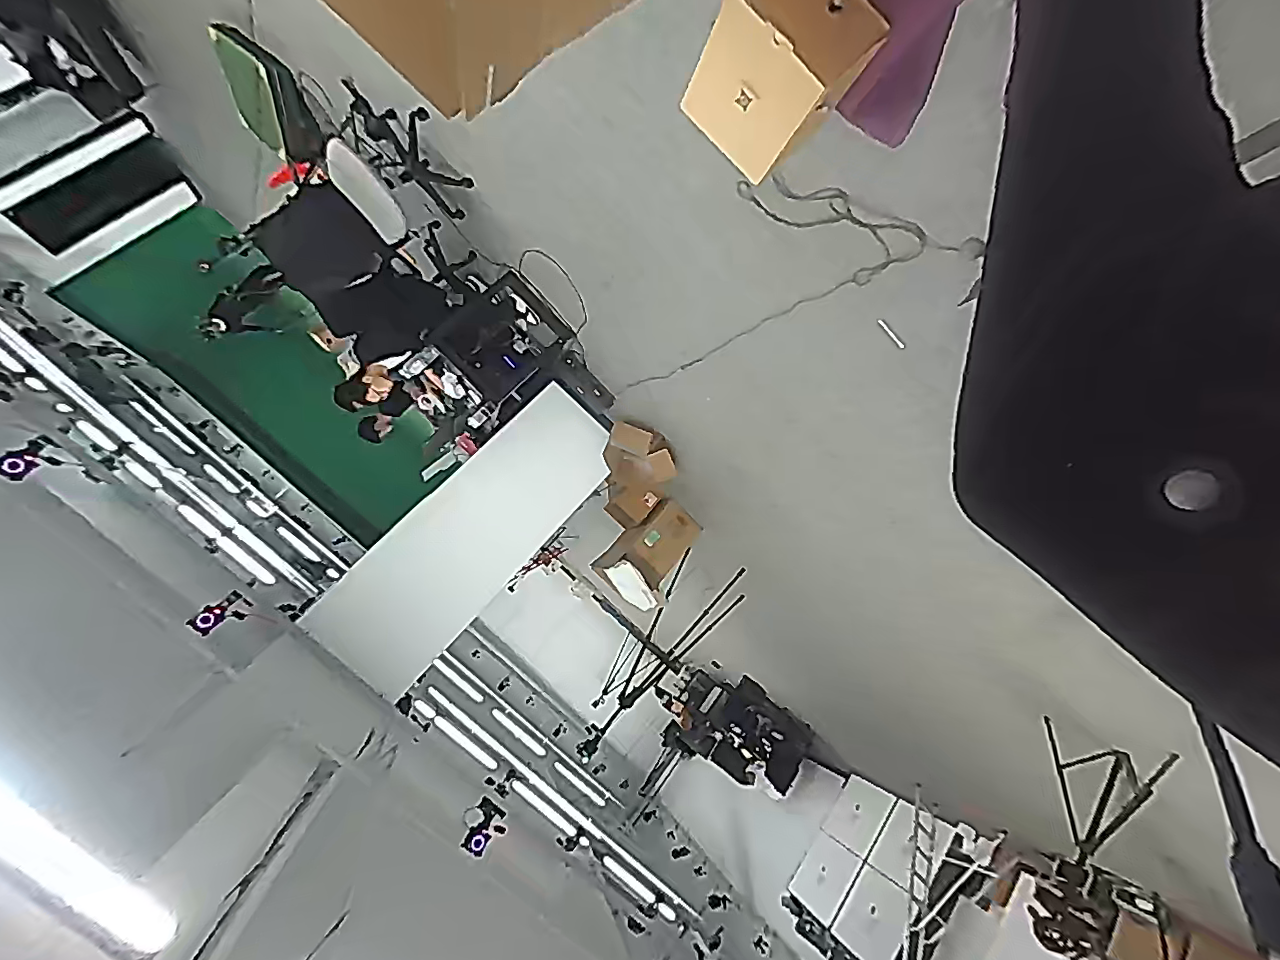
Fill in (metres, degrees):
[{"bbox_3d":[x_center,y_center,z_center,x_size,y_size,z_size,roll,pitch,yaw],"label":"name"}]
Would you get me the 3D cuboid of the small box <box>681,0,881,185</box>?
[{"bbox_3d":[0.191,-0.568,0.751,0.168,0.176,0.179,44,160,-4],"label":"small box"}]
